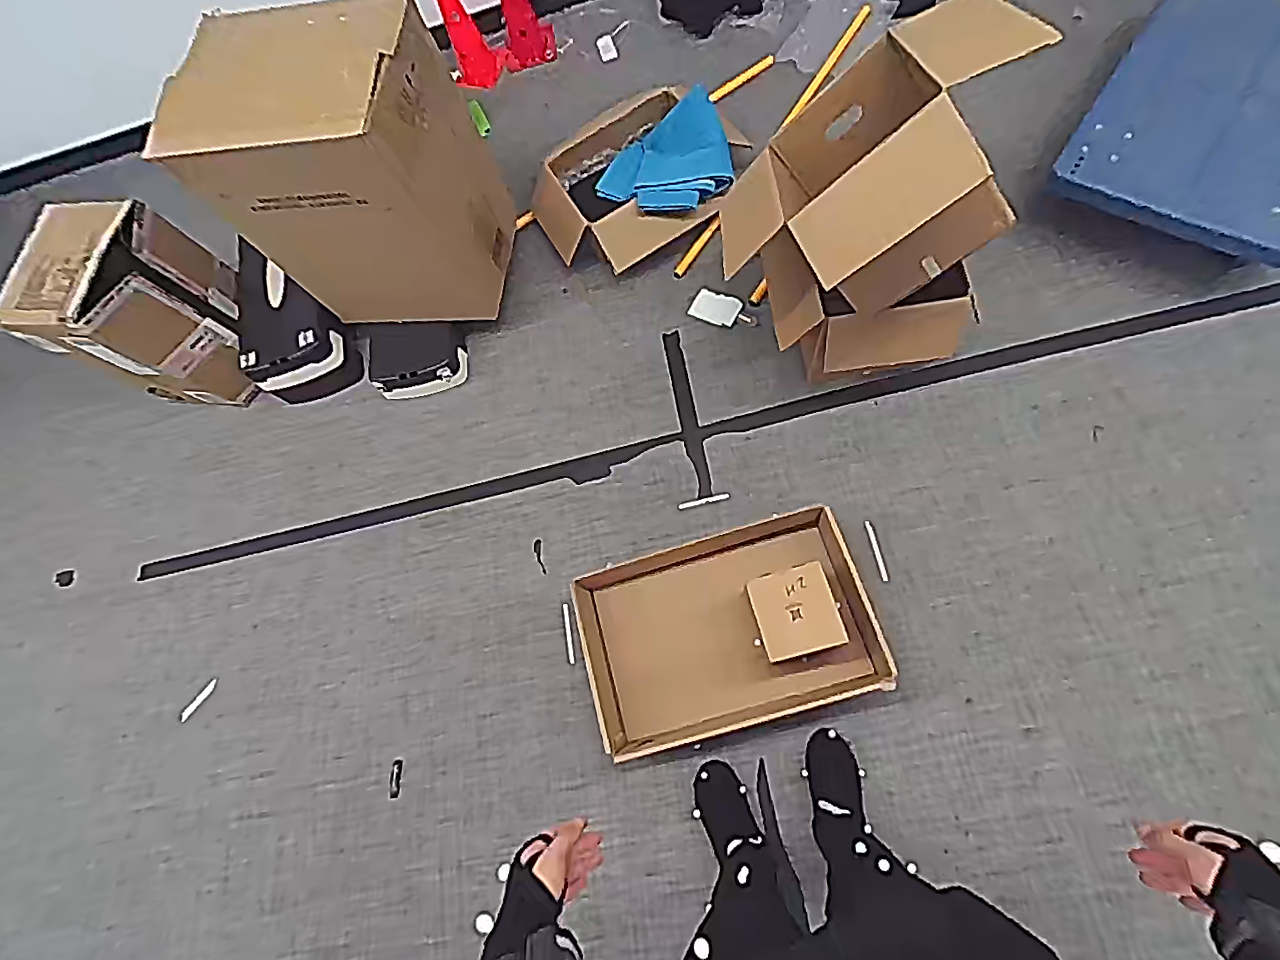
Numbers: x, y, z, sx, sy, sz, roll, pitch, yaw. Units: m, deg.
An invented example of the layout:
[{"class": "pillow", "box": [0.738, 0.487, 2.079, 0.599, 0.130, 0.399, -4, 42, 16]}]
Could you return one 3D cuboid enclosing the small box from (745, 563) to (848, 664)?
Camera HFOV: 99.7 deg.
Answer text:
[{"class": "small box", "box": [0.338, 0.298, 1.195, 0.168, 0.176, 0.179, -16, 69, 5]}]
